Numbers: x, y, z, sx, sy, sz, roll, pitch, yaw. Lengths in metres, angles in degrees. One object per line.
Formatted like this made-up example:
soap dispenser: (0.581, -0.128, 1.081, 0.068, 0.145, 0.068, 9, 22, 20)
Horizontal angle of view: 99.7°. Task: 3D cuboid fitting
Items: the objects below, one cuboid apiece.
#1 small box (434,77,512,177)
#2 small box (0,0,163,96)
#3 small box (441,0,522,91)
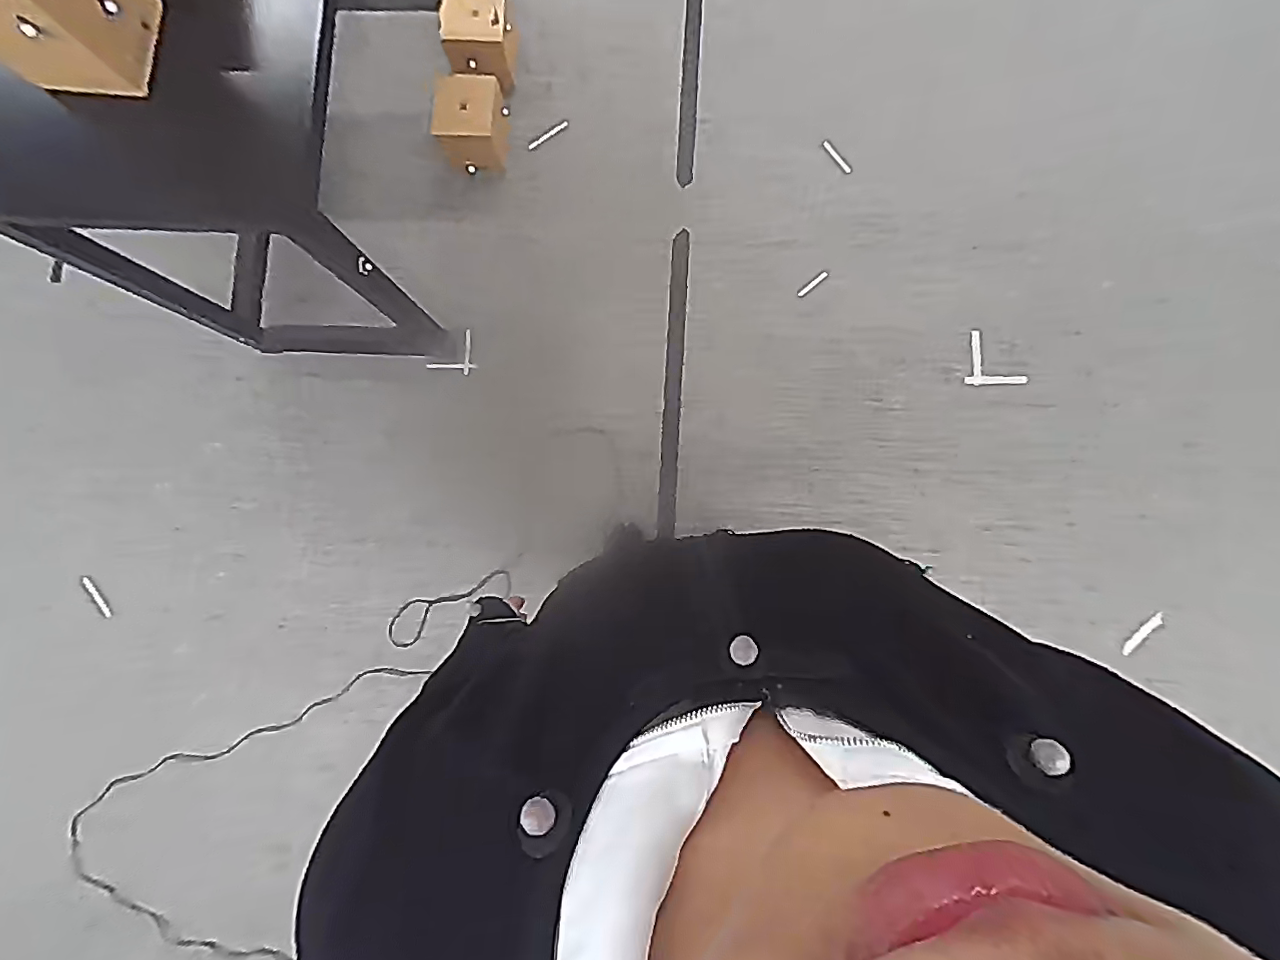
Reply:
small box: (-0.469, -1.003, 1.543, 0.168, 0.176, 0.179, 2, 86, 2)
small box: (-0.863, -0.707, 0.795, 0.179, 0.176, 0.168, 6, 85, 2)
small box: (-0.452, -1.265, 1.562, 0.179, 0.176, 0.168, 2, 86, 2)
